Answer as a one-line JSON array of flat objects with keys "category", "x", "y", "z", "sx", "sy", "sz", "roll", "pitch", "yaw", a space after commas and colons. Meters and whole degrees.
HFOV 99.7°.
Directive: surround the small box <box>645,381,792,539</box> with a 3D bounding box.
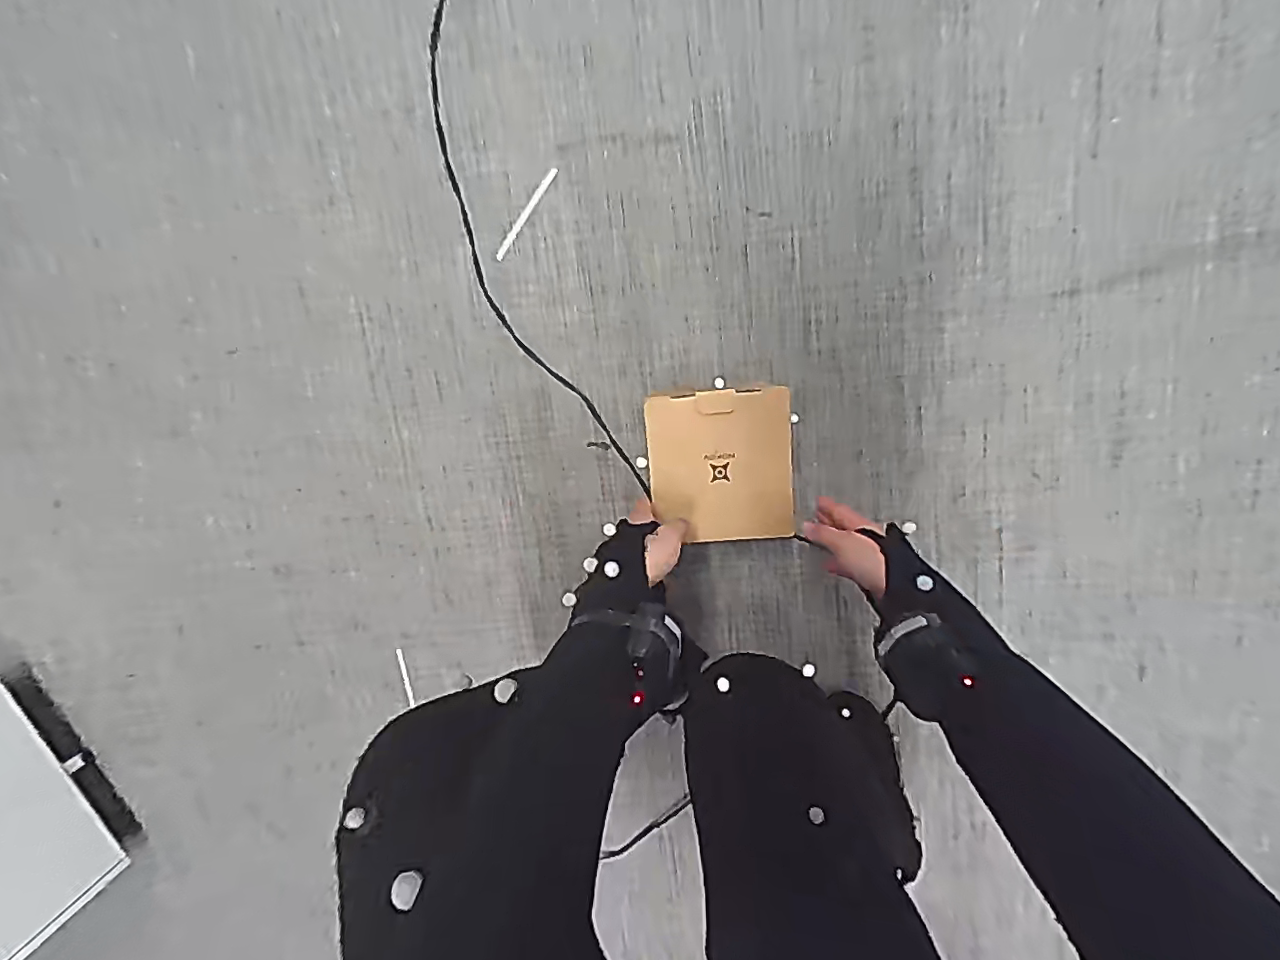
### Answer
[{"category": "small box", "x": 0.099, "y": -0.033, "z": 0.701, "sx": 0.168, "sy": 0.176, "sz": 0.179, "roll": -4, "pitch": 101, "yaw": 5}]
